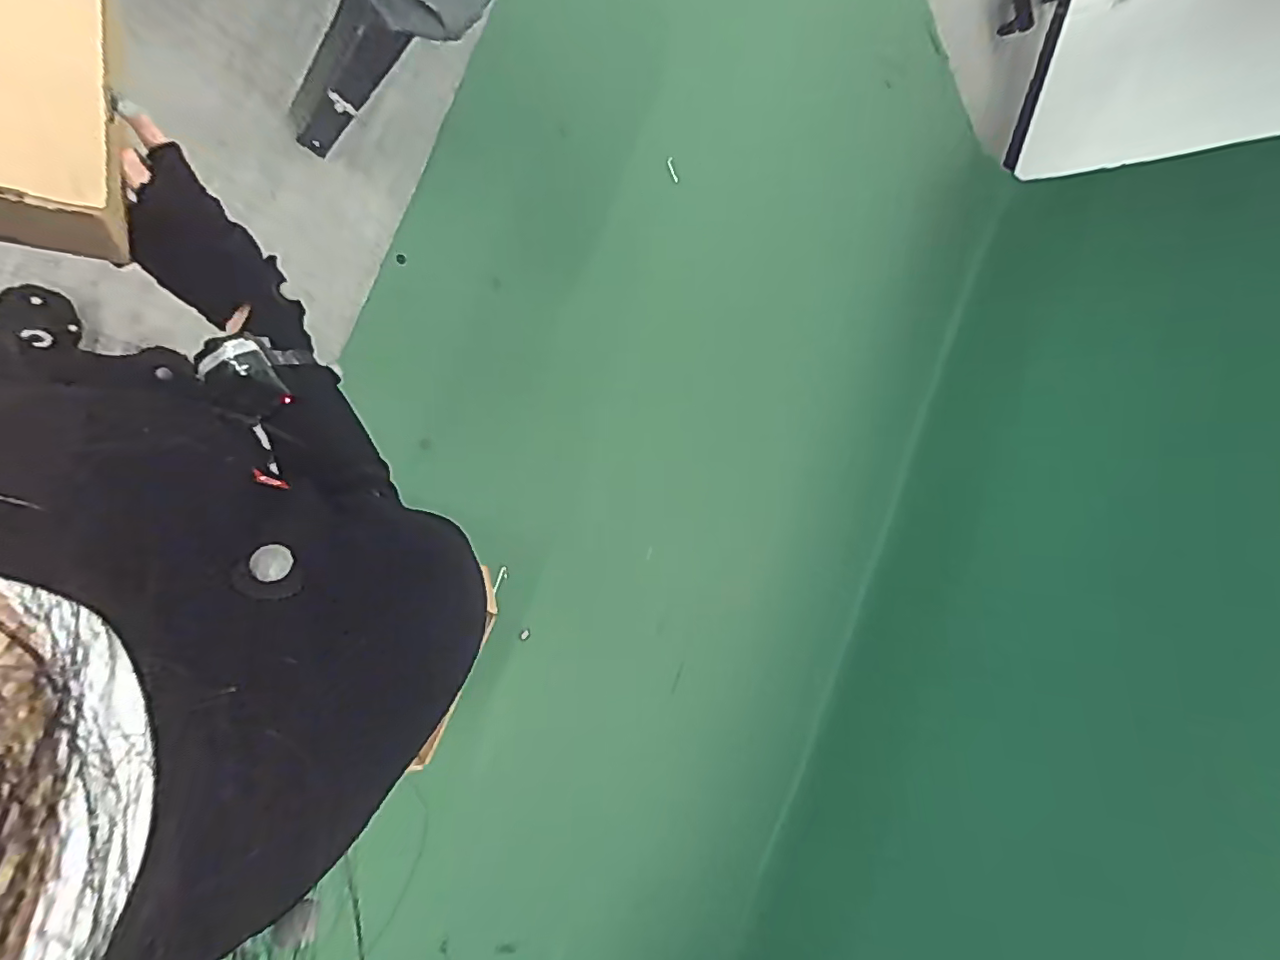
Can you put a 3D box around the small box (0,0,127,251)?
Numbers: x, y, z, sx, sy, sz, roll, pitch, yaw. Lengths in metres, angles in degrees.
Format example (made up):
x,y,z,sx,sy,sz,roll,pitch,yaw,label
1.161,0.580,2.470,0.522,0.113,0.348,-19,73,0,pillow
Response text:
x,y,z,sx,sy,sz,roll,pitch,yaw,label
-0.409,-0.247,0.306,0.168,0.176,0.179,-1,98,-41,small box
